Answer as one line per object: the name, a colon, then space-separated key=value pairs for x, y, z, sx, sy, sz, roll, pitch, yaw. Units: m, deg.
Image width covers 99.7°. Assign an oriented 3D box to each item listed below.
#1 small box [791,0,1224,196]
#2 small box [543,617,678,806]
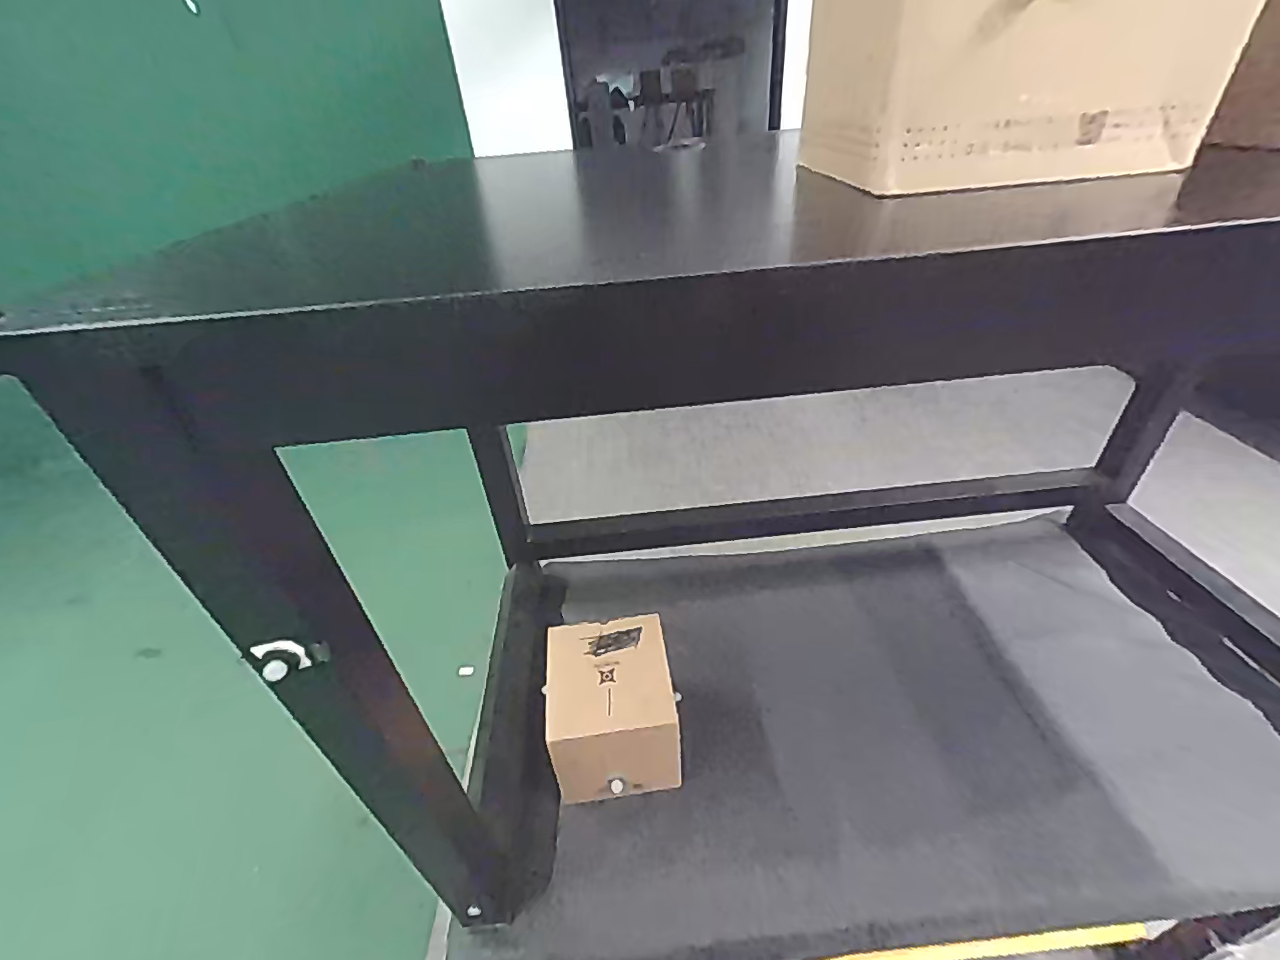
small box: x=0.192 y=-0.269 z=0.311 sx=0.168 sy=0.176 sz=0.179 roll=-4 pitch=35 yaw=2
small box: x=-0.040 y=0.325 z=0.768 sx=0.168 sy=0.176 sz=0.179 roll=-7 pitch=36 yaw=-2
